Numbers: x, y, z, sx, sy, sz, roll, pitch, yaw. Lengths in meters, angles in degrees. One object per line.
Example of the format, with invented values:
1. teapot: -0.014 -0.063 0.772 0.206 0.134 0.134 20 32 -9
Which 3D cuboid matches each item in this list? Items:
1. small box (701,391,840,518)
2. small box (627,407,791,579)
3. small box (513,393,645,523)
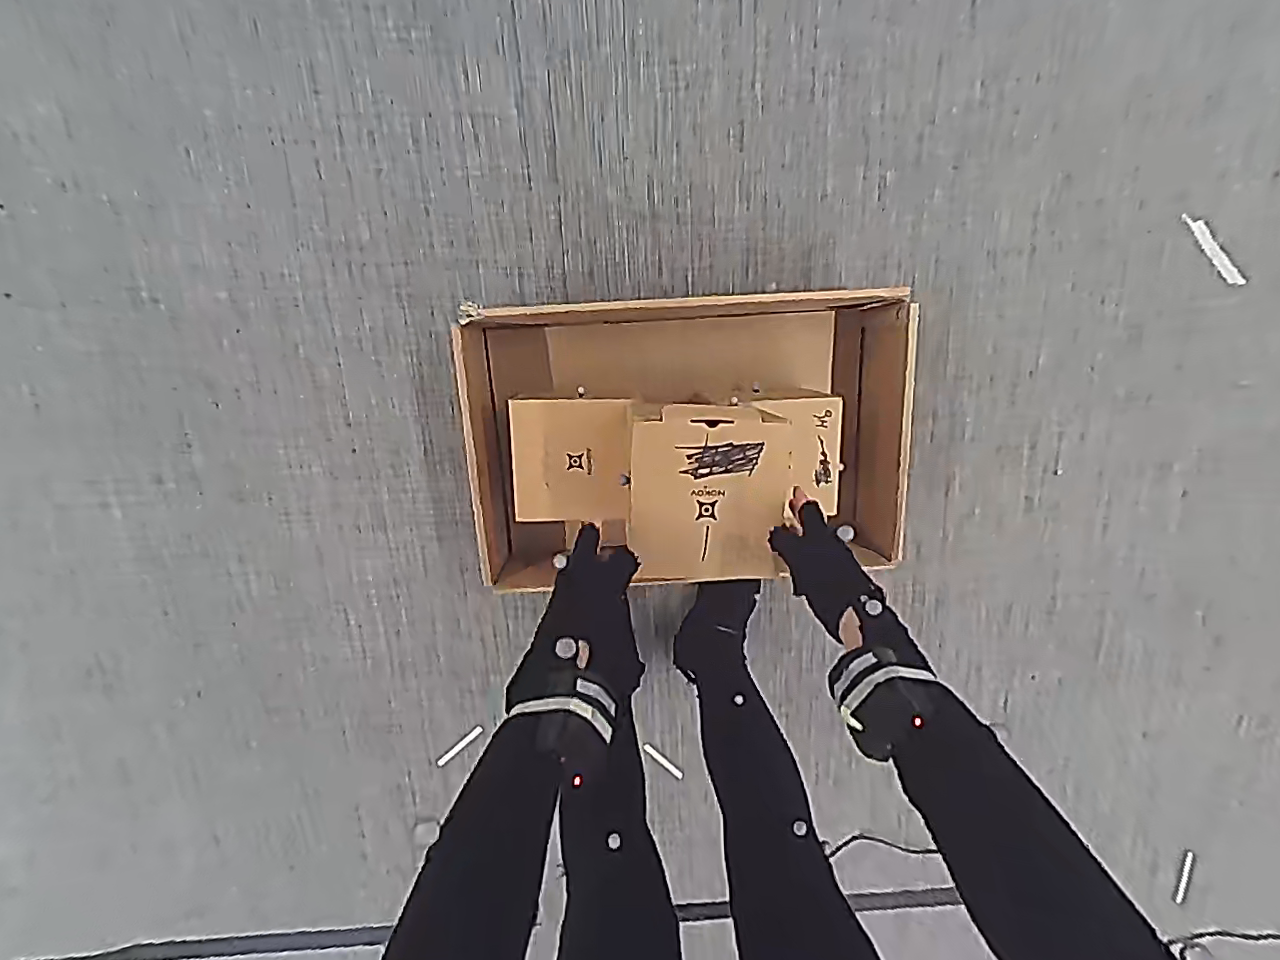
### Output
1. small box: 0.182 -0.043 0.814 0.179 0.176 0.168 -3 104 0
2. small box: 0.070 0.006 0.650 0.168 0.176 0.179 1 103 -2
3. small box: -0.084 -0.040 0.800 0.179 0.176 0.168 -1 103 -2
